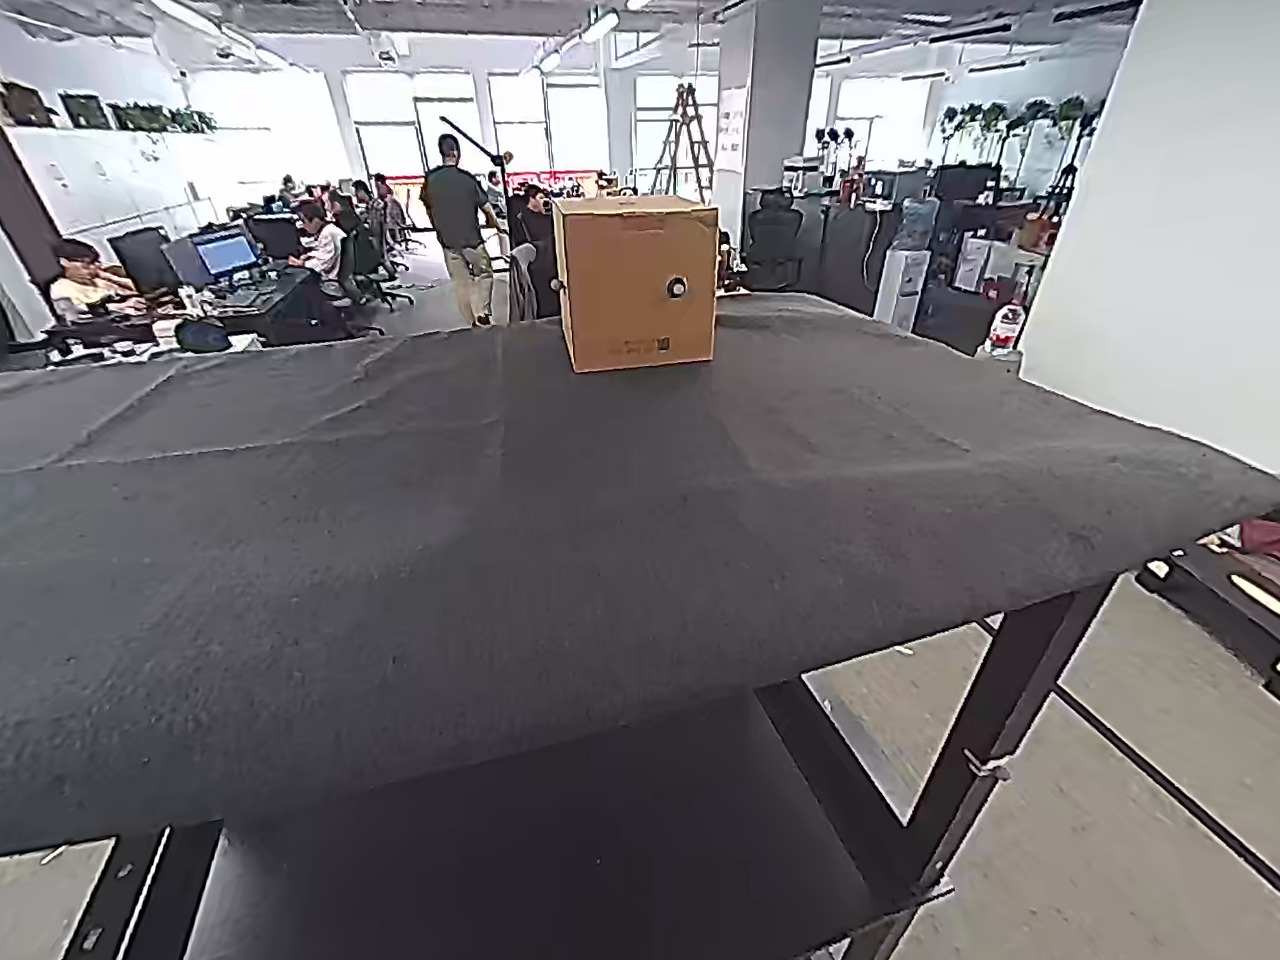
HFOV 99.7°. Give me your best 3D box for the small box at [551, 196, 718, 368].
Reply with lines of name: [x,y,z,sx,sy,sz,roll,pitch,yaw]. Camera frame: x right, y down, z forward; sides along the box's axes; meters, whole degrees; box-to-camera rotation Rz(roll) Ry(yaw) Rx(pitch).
small box: [-0.012,-0.239,0.654,0.168,0.176,0.179,-7,32,-10]
